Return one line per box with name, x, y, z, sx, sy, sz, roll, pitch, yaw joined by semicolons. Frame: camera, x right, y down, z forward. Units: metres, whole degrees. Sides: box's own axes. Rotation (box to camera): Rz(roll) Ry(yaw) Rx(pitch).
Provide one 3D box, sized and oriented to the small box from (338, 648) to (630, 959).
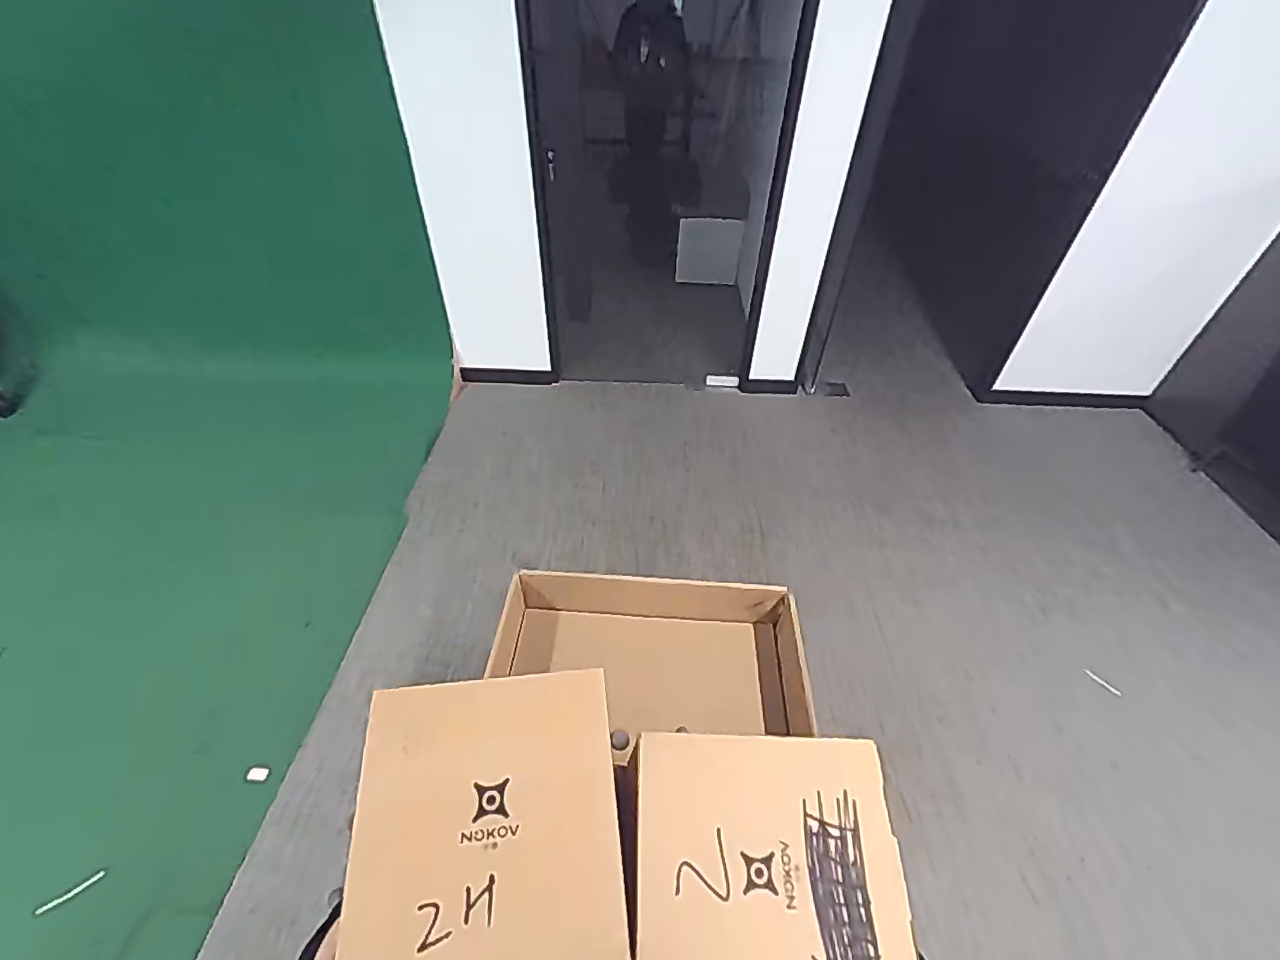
small box;-0.104;0.248;0.419;0.168;0.176;0.179;-3;55;-9
